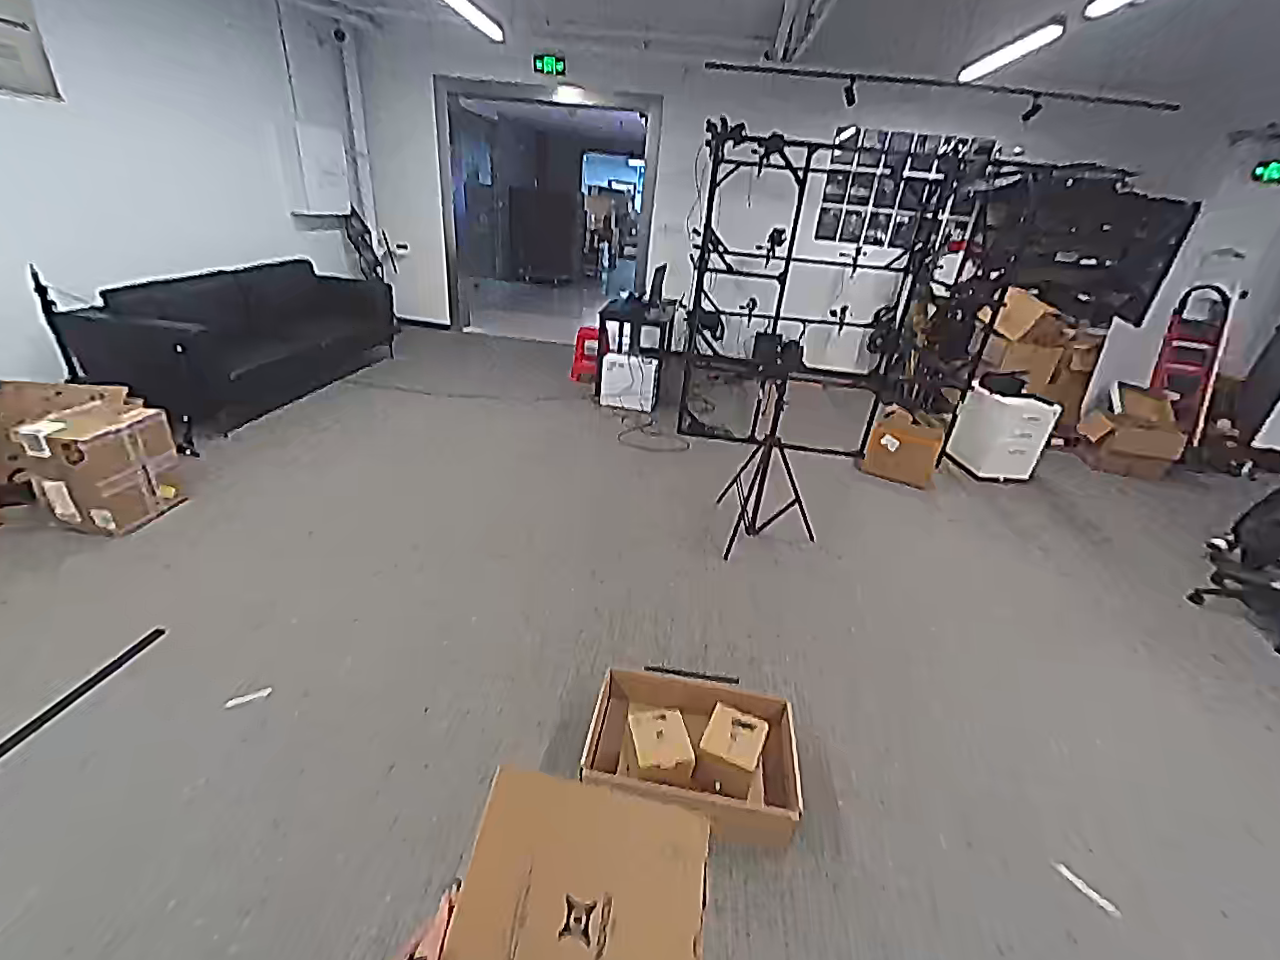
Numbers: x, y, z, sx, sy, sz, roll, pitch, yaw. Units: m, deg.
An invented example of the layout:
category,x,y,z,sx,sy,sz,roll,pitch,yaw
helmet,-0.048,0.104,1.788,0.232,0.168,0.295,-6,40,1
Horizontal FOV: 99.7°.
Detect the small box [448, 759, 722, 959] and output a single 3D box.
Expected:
category,x,y,z,sx,sy,sz,roll,pitch,yaw
small box,-0.048,0.345,0.423,0.179,0.176,0.168,14,46,-4
